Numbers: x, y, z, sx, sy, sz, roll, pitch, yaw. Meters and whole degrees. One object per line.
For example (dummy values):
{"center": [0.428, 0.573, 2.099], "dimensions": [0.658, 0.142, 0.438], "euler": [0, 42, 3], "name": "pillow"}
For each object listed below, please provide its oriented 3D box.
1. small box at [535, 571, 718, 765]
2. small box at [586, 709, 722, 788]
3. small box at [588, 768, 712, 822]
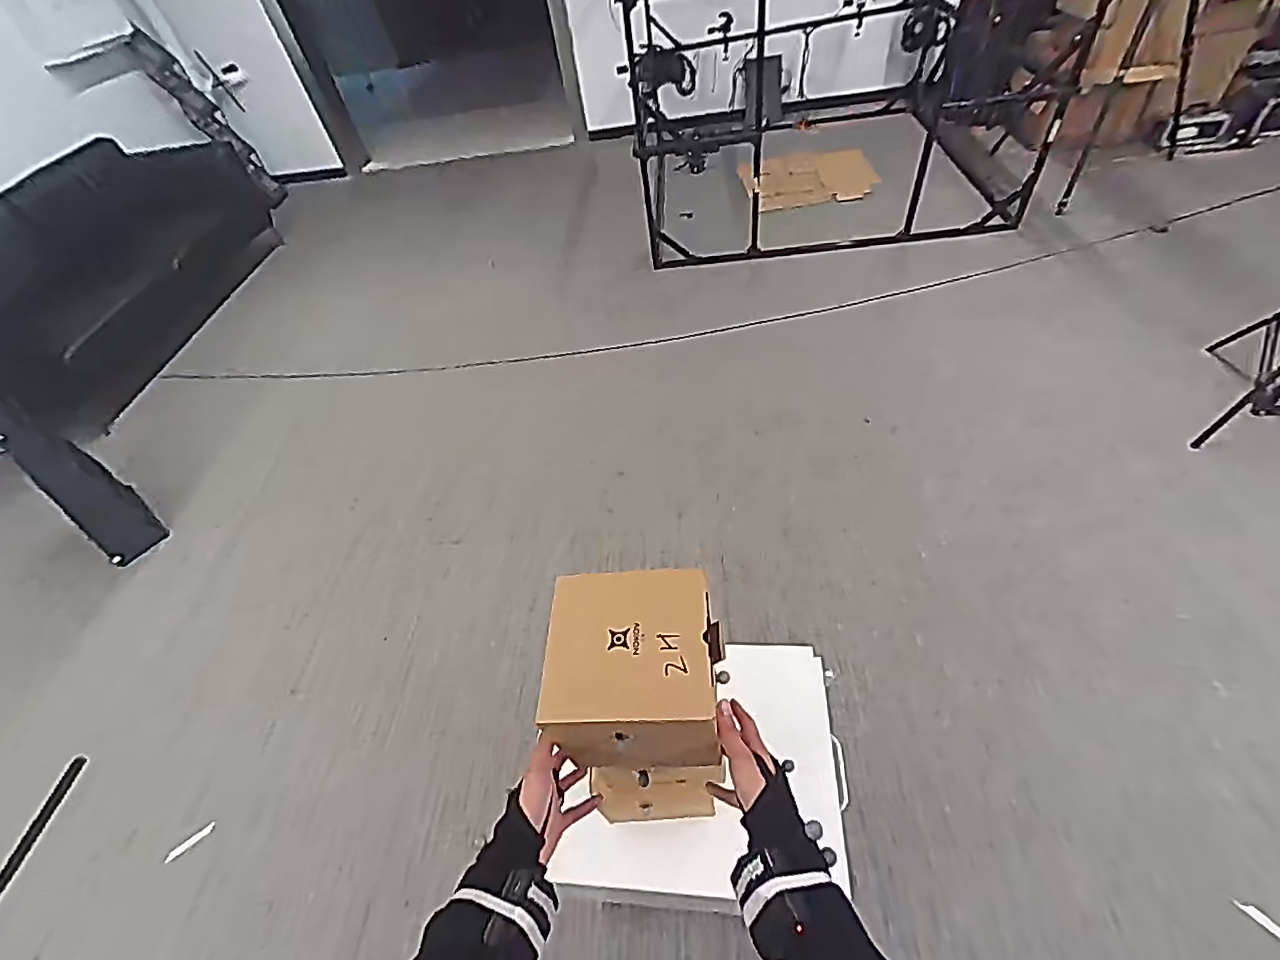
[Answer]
{"center": [-0.004, 0.222, 0.628], "dimensions": [0.179, 0.176, 0.168], "euler": [-4, 49, 7], "name": "small box"}
{"center": [0.023, 0.320, 0.759], "dimensions": [0.168, 0.176, 0.179], "euler": [-6, 48, 5], "name": "small box"}
{"center": [0.019, 0.440, 0.872], "dimensions": [0.179, 0.176, 0.168], "euler": [-6, 49, 3], "name": "small box"}
